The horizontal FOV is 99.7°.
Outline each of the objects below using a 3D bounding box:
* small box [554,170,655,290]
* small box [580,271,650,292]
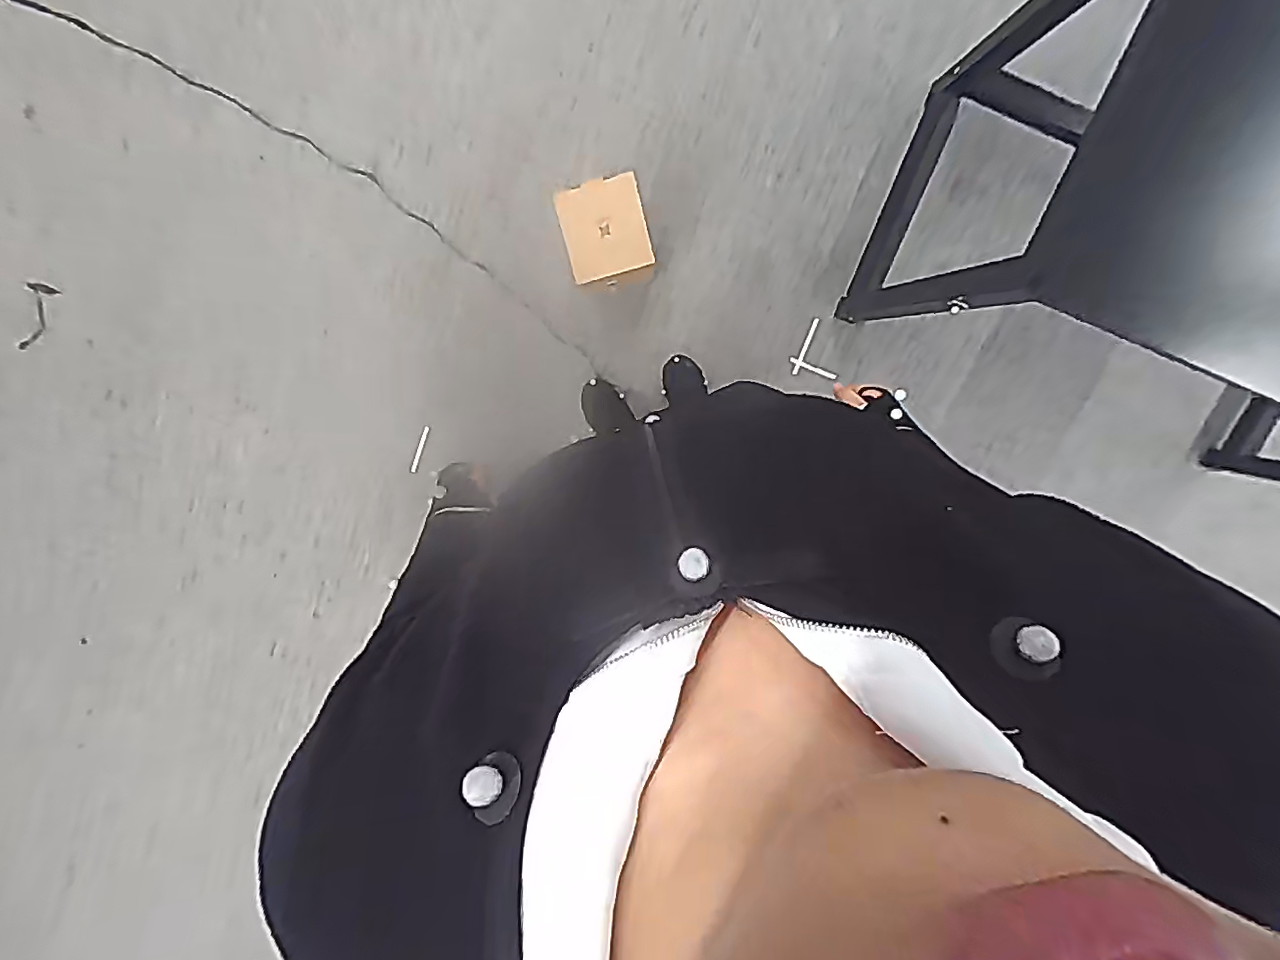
[{"bbox_3d":[-0.071,-0.517,1.142,0.168,0.176,0.179,-15,104,4],"label":"small box"},{"bbox_3d":[-0.071,-0.557,1.300,0.168,0.176,0.179,-11,103,1],"label":"small box"}]
